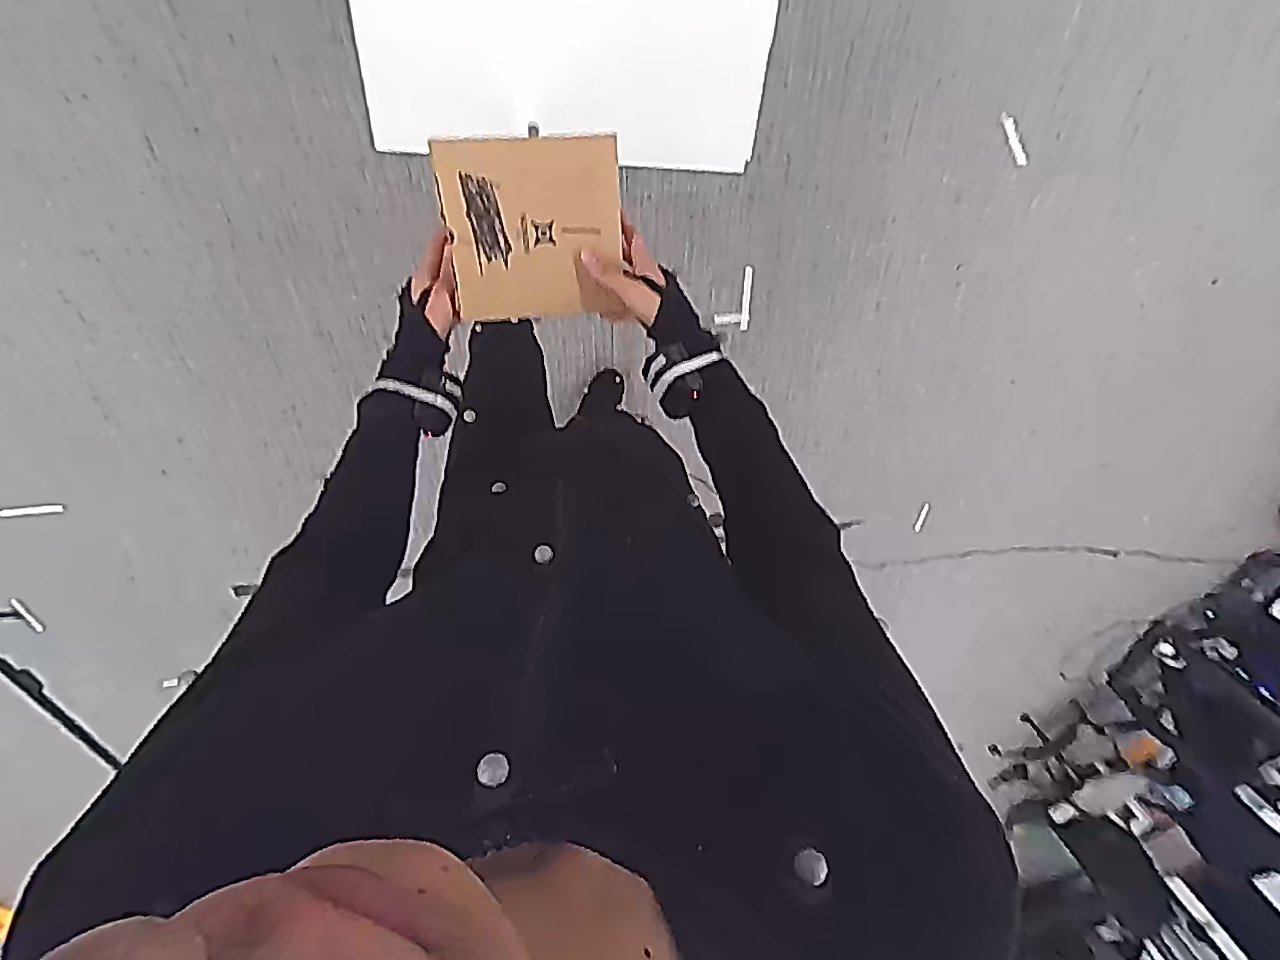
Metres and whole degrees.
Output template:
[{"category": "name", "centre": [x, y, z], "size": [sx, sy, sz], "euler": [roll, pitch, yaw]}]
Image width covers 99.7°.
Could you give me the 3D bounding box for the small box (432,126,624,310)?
[{"category": "small box", "centre": [-0.116, -0.294, 0.611], "size": [0.179, 0.176, 0.168], "euler": [-6, 119, -7]}]
